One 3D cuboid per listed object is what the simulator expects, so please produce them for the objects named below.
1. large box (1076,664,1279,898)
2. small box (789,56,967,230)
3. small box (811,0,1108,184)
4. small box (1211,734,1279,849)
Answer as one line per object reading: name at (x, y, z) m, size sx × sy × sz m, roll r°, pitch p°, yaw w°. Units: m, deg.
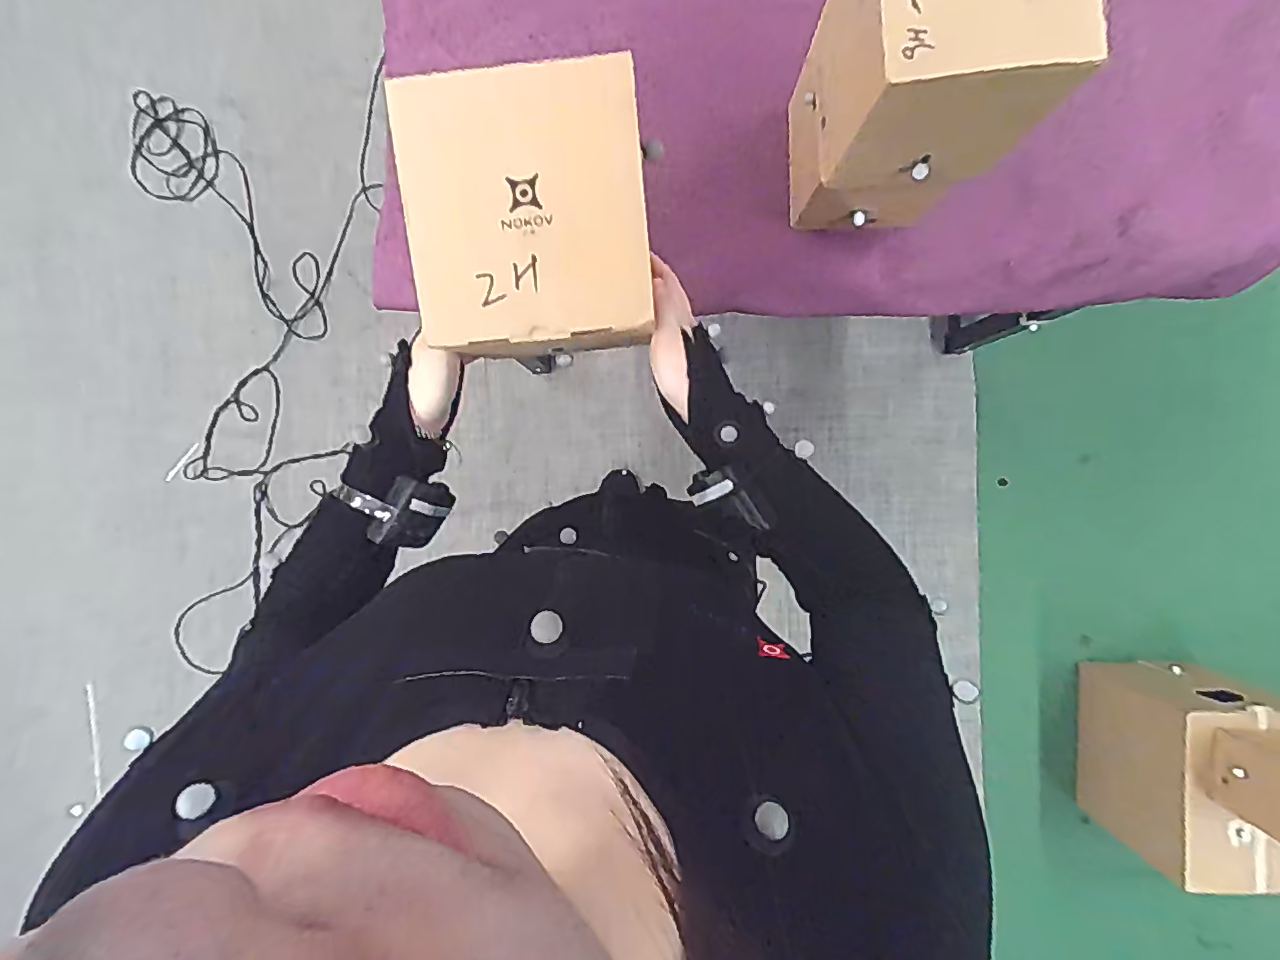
large box at (1.330, 0.699, 1.316) m, size 0.320 × 0.320 × 0.408 m, roll 0°, pitch 92°, yaw 2°
small box at (0.284, -0.430, 0.660) m, size 0.168 × 0.176 × 0.179 m, roll -1°, pitch 91°, yaw 2°
small box at (0.272, -0.399, 0.497) m, size 0.179 × 0.176 × 0.168 m, roll -4°, pitch 91°, yaw 1°
small box at (1.310, 0.625, 1.071) m, size 0.179 × 0.176 × 0.168 m, roll 2°, pitch 92°, yaw 2°
